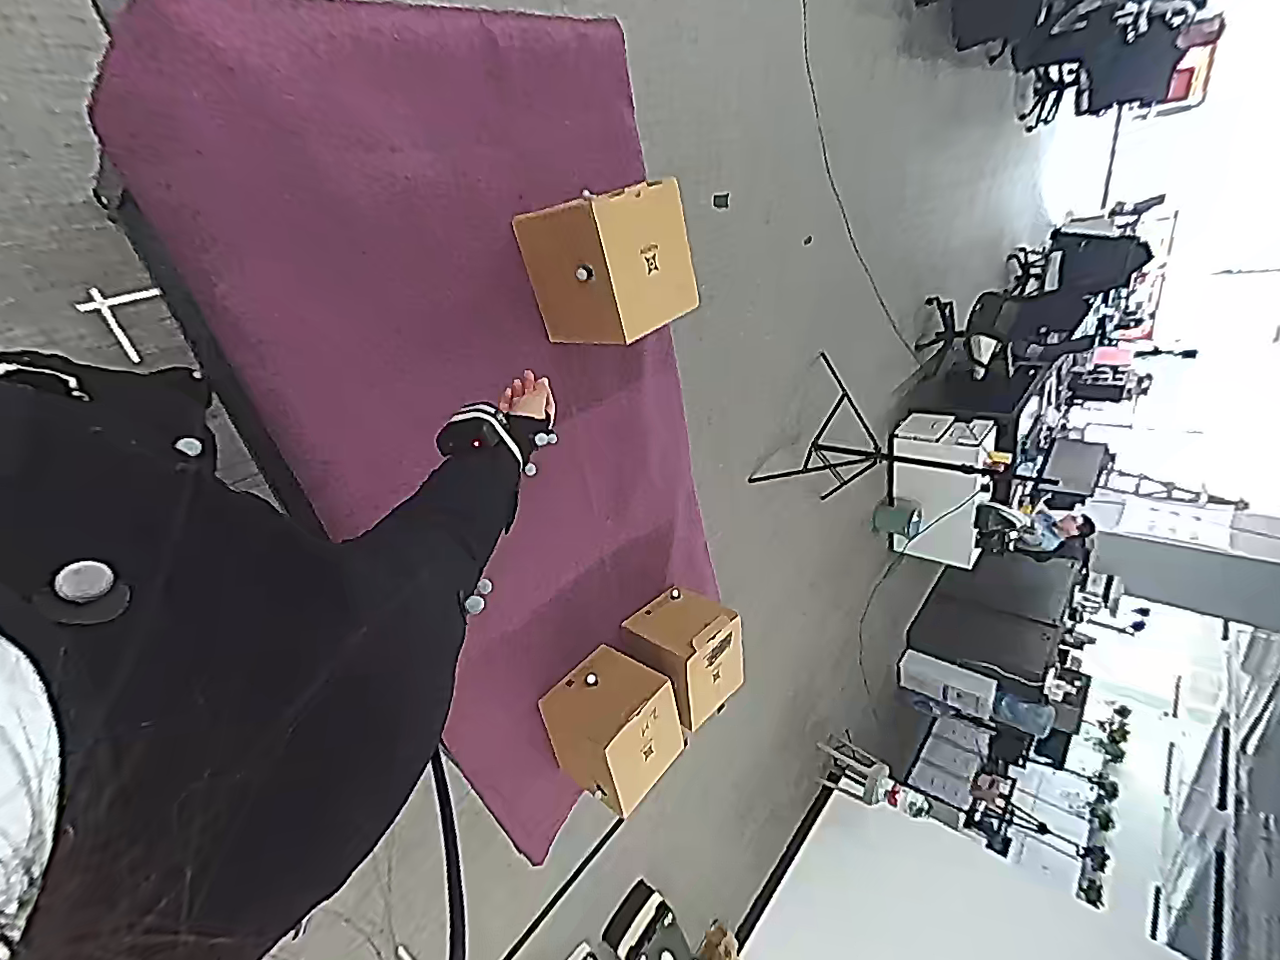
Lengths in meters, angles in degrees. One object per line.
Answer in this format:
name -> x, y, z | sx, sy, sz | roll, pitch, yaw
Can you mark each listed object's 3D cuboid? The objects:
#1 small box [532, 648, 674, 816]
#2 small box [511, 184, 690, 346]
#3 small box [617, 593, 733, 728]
small box -> -0.064, 0.434, 0.960 | 0.168, 0.176, 0.179 | -33, 122, -40
small box -> -0.054, -0.305, 0.779 | 0.168, 0.176, 0.179 | -38, 126, -36
small box -> 0.068, 0.346, 1.083 | 0.168, 0.176, 0.179 | -26, 119, -40
